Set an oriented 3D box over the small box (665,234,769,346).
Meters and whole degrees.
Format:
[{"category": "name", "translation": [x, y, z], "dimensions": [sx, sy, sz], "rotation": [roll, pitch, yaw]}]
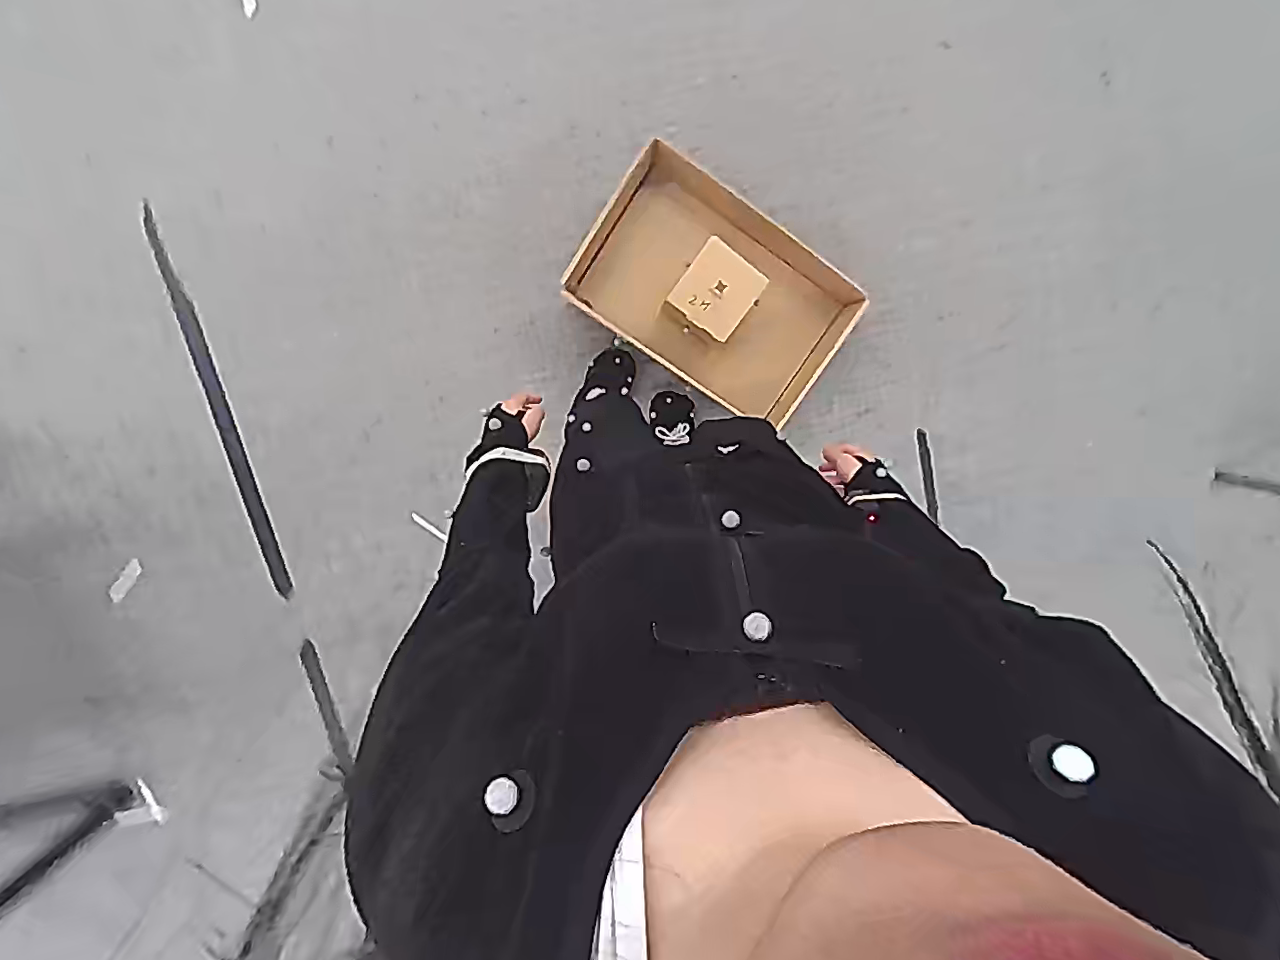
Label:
[{"category": "small box", "translation": [0.172, -0.440, 1.283], "dimensions": [0.168, 0.176, 0.179], "rotation": [37, 97, -7]}]
